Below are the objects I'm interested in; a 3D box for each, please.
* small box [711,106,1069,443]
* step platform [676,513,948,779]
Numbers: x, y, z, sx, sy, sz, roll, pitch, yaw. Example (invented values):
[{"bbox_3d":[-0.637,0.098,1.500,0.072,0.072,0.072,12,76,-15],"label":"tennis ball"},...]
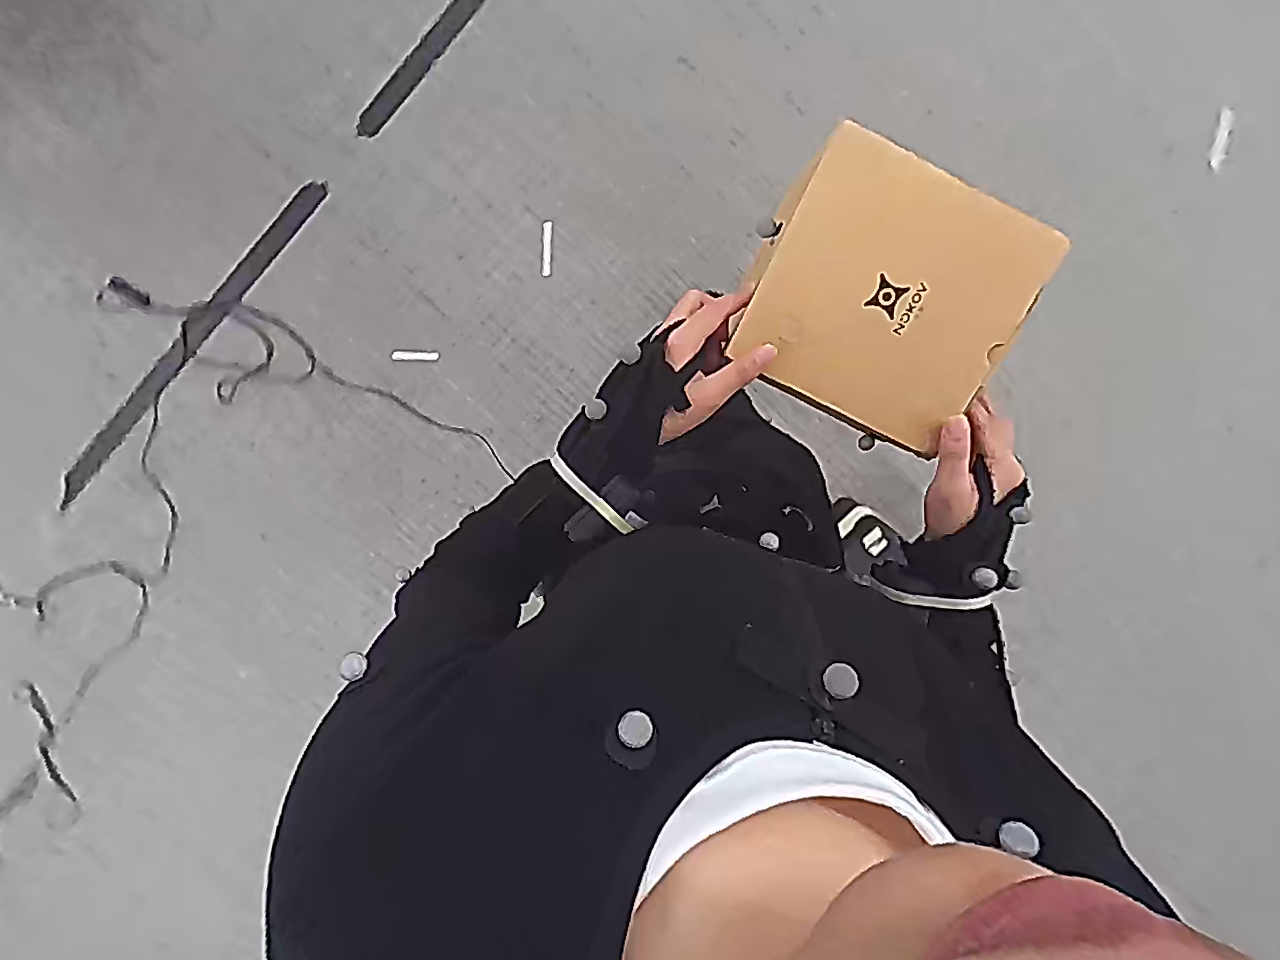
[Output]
[{"bbox_3d":[0.170,-0.148,0.439,0.179,0.176,0.168,24,104,-4],"label":"small box"},{"bbox_3d":[0.413,0.413,1.356,0.286,0.204,0.684,43,96,-10],"label":"step platform"}]
